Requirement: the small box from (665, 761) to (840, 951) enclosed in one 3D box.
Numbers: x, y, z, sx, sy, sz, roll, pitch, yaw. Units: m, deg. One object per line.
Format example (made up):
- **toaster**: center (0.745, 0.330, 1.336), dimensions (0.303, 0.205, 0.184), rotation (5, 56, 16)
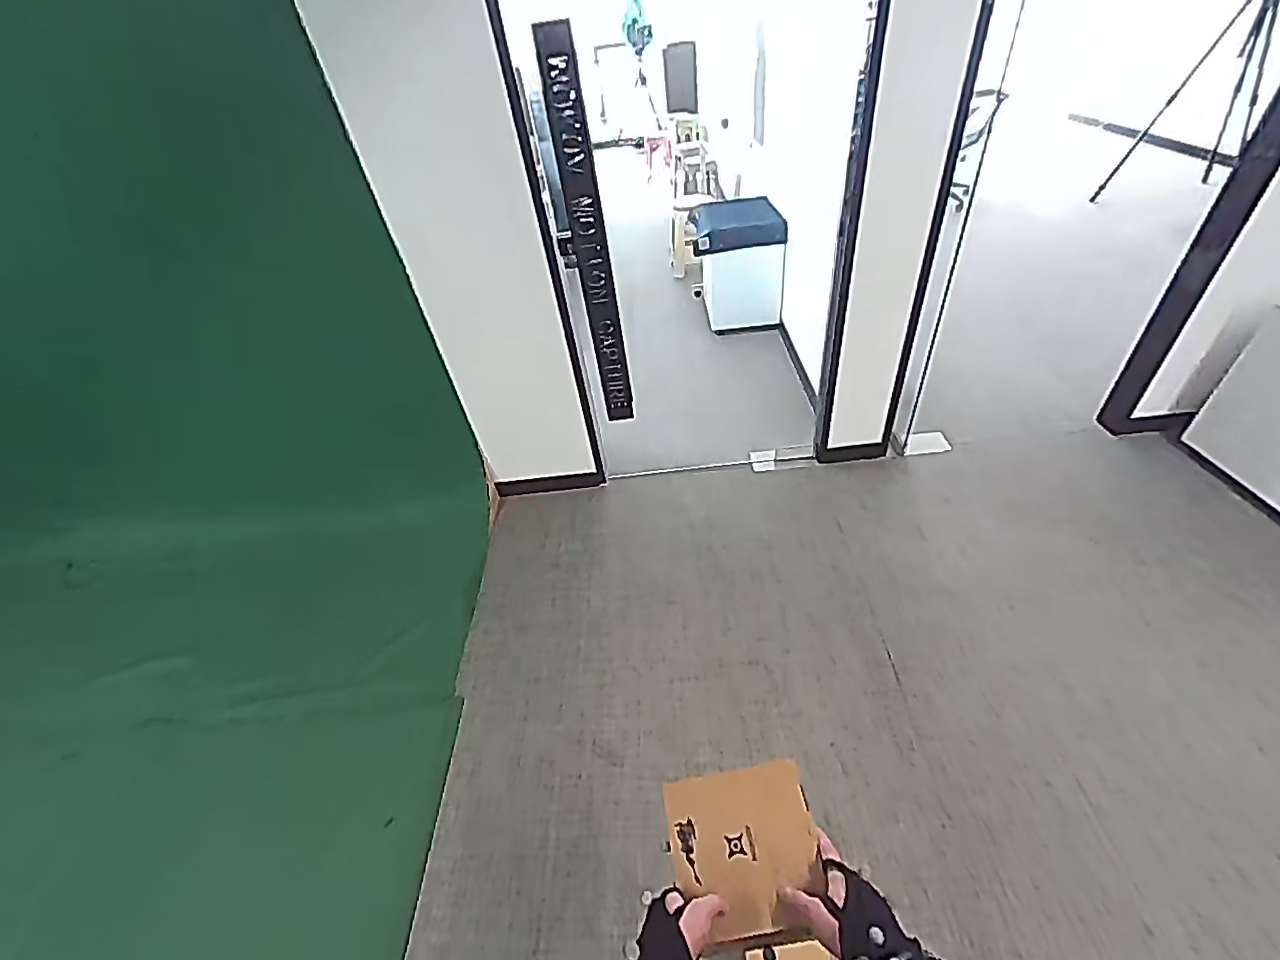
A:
- **small box**: center (0.137, 0.488, 0.699), dimensions (0.179, 0.176, 0.168), rotation (-12, 45, 3)
